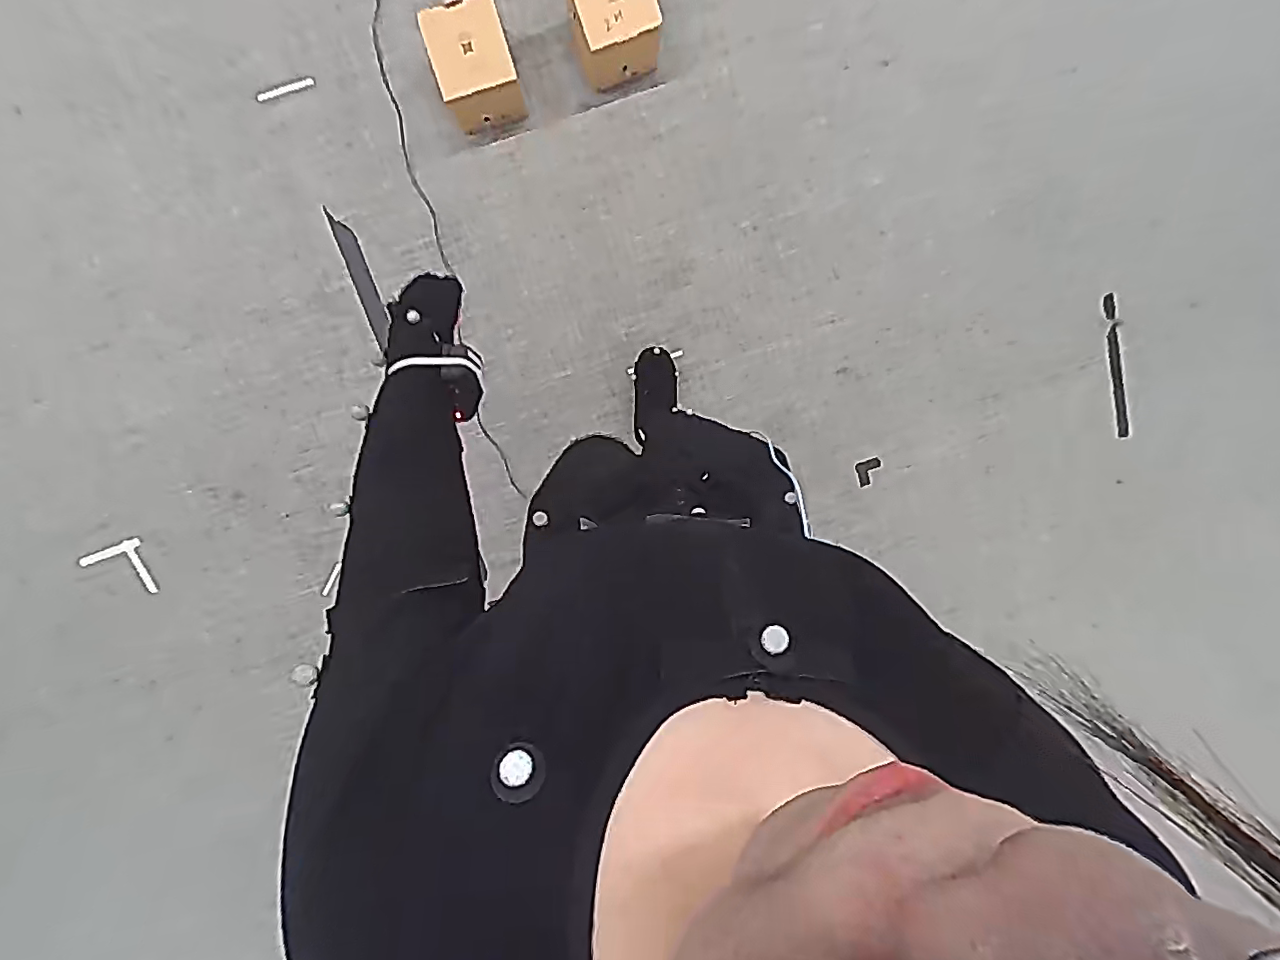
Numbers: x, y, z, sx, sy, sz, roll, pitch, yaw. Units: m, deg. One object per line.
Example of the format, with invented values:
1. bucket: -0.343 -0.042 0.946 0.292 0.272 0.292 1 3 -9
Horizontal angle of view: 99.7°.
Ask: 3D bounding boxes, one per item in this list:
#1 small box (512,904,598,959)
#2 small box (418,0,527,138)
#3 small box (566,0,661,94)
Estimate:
1. small box: -0.196 1.137 1.261 0.179 0.176 0.168 -12 102 1
2. small box: -0.366 -0.913 1.213 0.168 0.176 0.179 -16 102 1
3. small box: -0.062 -1.016 1.206 0.168 0.176 0.179 -20 101 2
